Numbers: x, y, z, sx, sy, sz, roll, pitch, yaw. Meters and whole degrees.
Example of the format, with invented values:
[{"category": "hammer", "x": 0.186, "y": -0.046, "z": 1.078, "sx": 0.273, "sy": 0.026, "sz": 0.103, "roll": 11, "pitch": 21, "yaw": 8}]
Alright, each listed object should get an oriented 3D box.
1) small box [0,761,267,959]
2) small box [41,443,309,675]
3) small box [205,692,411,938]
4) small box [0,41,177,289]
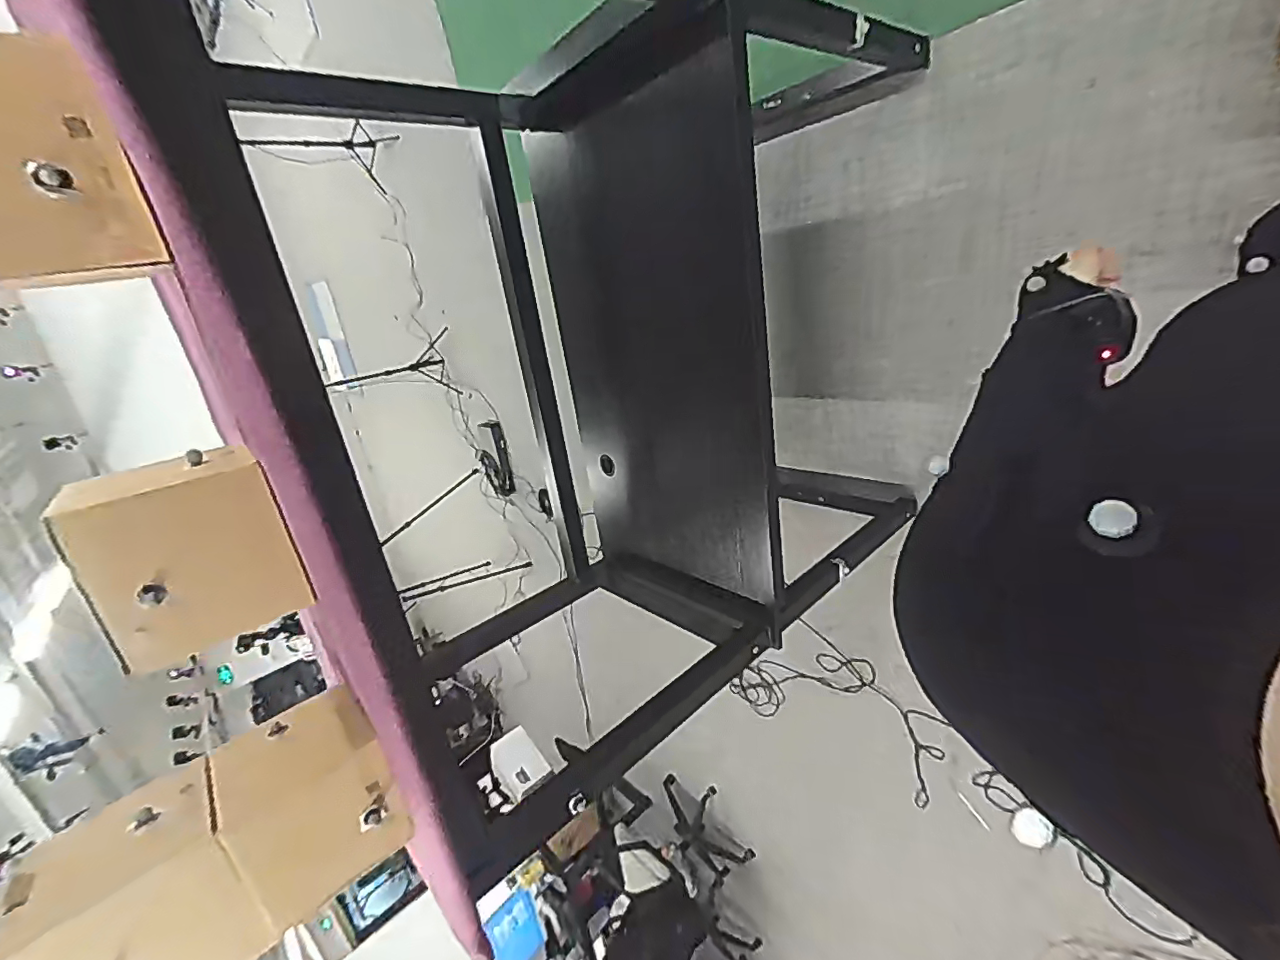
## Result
[{"category": "small box", "x": -0.541, "y": 0.462, "z": 0.596, "sx": 0.168, "sy": 0.176, "sz": 0.179, "roll": 7, "pitch": 115, "yaw": 49}, {"category": "small box", "x": -0.495, "y": 0.072, "z": 0.602, "sx": 0.168, "sy": 0.176, "sz": 0.179, "roll": 15, "pitch": 120, "yaw": 48}, {"category": "small box", "x": -0.419, "y": 0.403, "z": 0.691, "sx": 0.179, "sy": 0.176, "sz": 0.168, "roll": 8, "pitch": 116, "yaw": 48}, {"category": "small box", "x": -0.543, "y": -0.262, "z": 0.476, "sx": 0.179, "sy": 0.176, "sz": 0.168, "roll": 19, "pitch": 125, "yaw": 48}]
